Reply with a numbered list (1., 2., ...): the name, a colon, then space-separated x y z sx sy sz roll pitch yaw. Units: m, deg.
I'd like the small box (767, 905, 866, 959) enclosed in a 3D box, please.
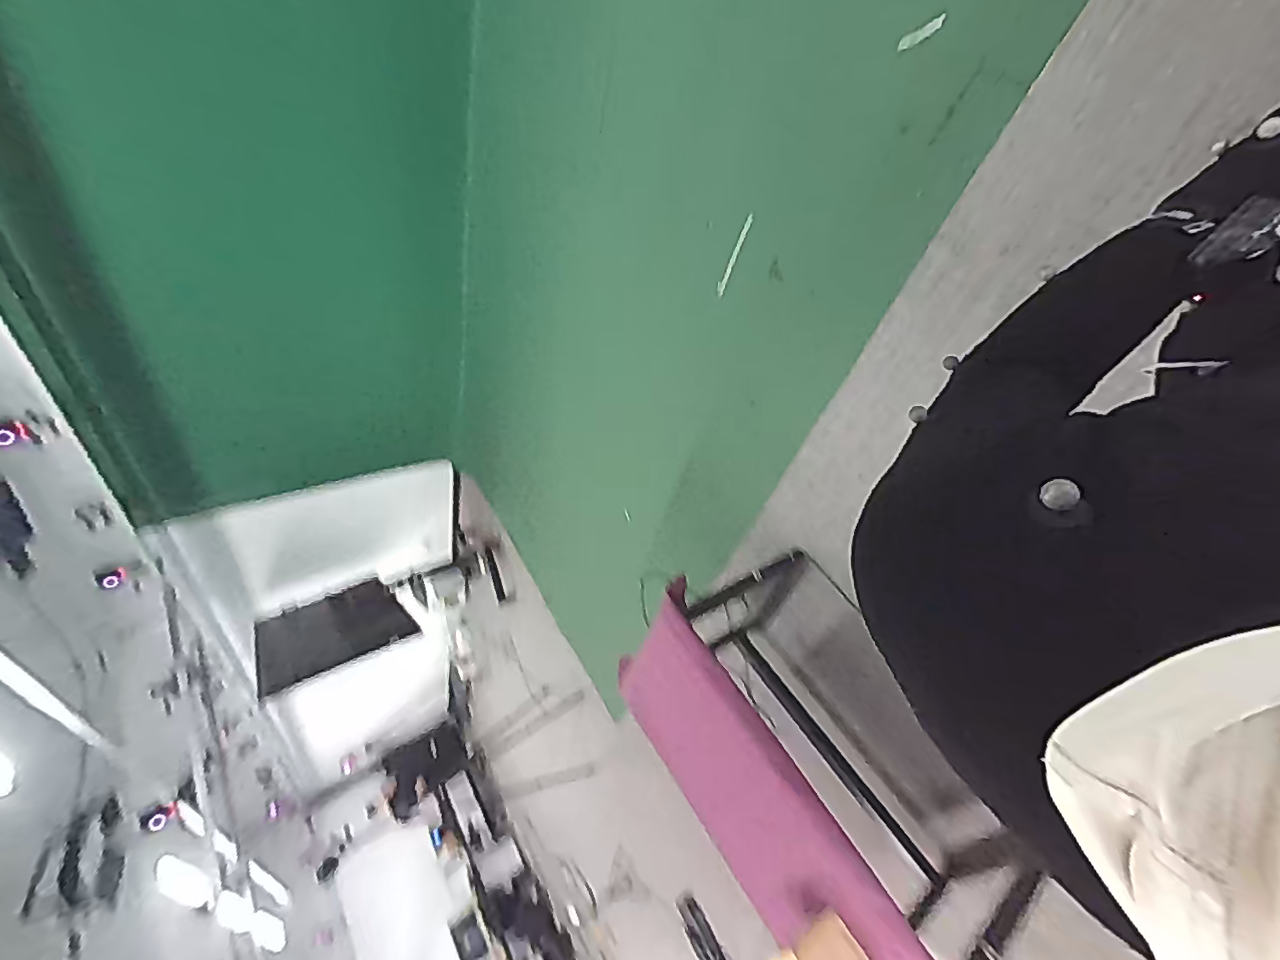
1. small box: 0.477 1.275 1.431 0.168 0.176 0.179 49 141 32
